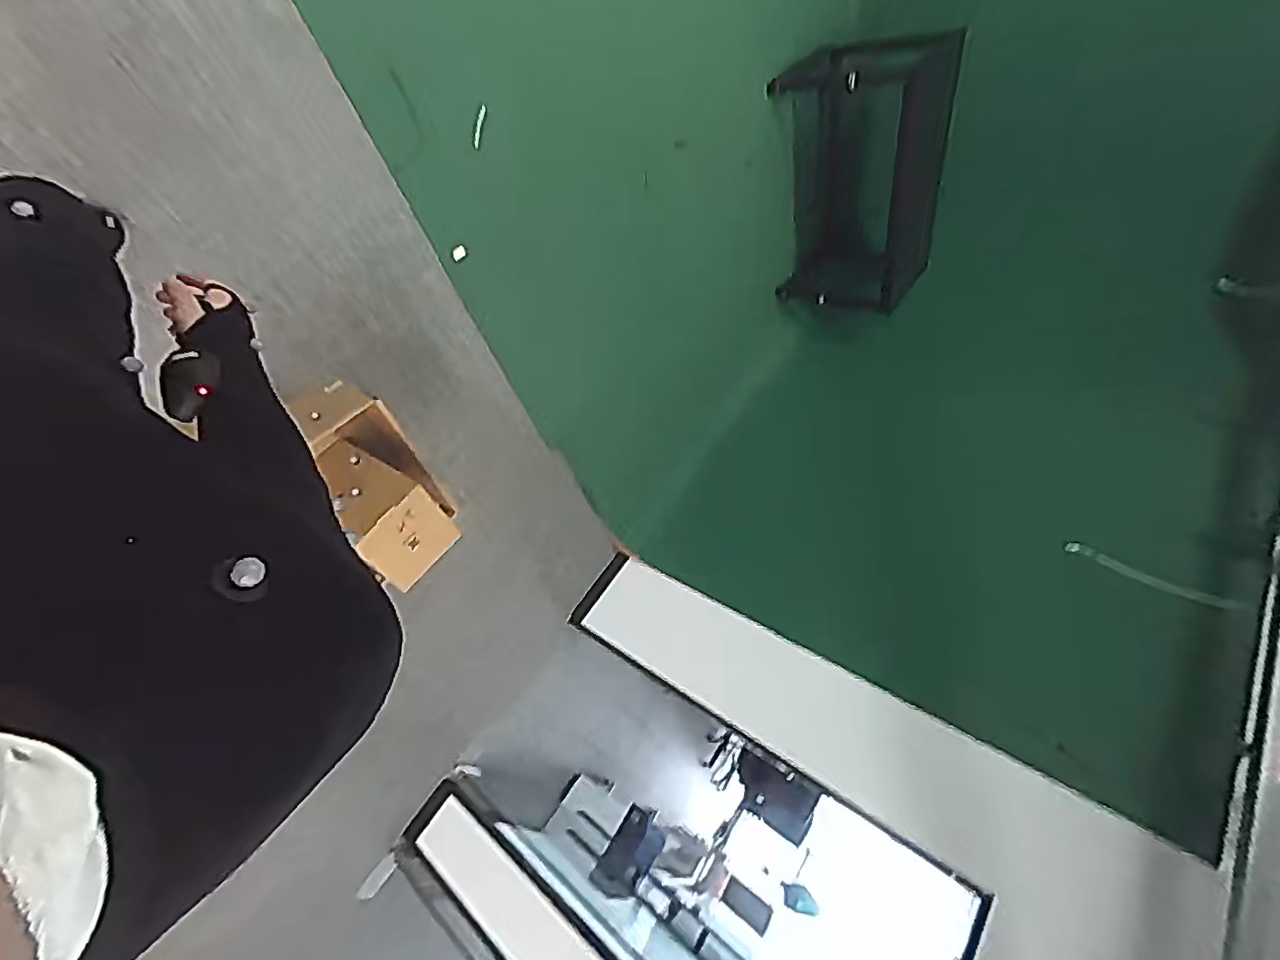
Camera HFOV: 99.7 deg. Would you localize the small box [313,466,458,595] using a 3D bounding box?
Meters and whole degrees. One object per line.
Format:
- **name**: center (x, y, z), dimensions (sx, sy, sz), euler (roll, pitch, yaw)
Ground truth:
- **small box**: center (-0.520, 0.099, 1.112), dimensions (0.168, 0.176, 0.179), euler (-50, 143, -25)
